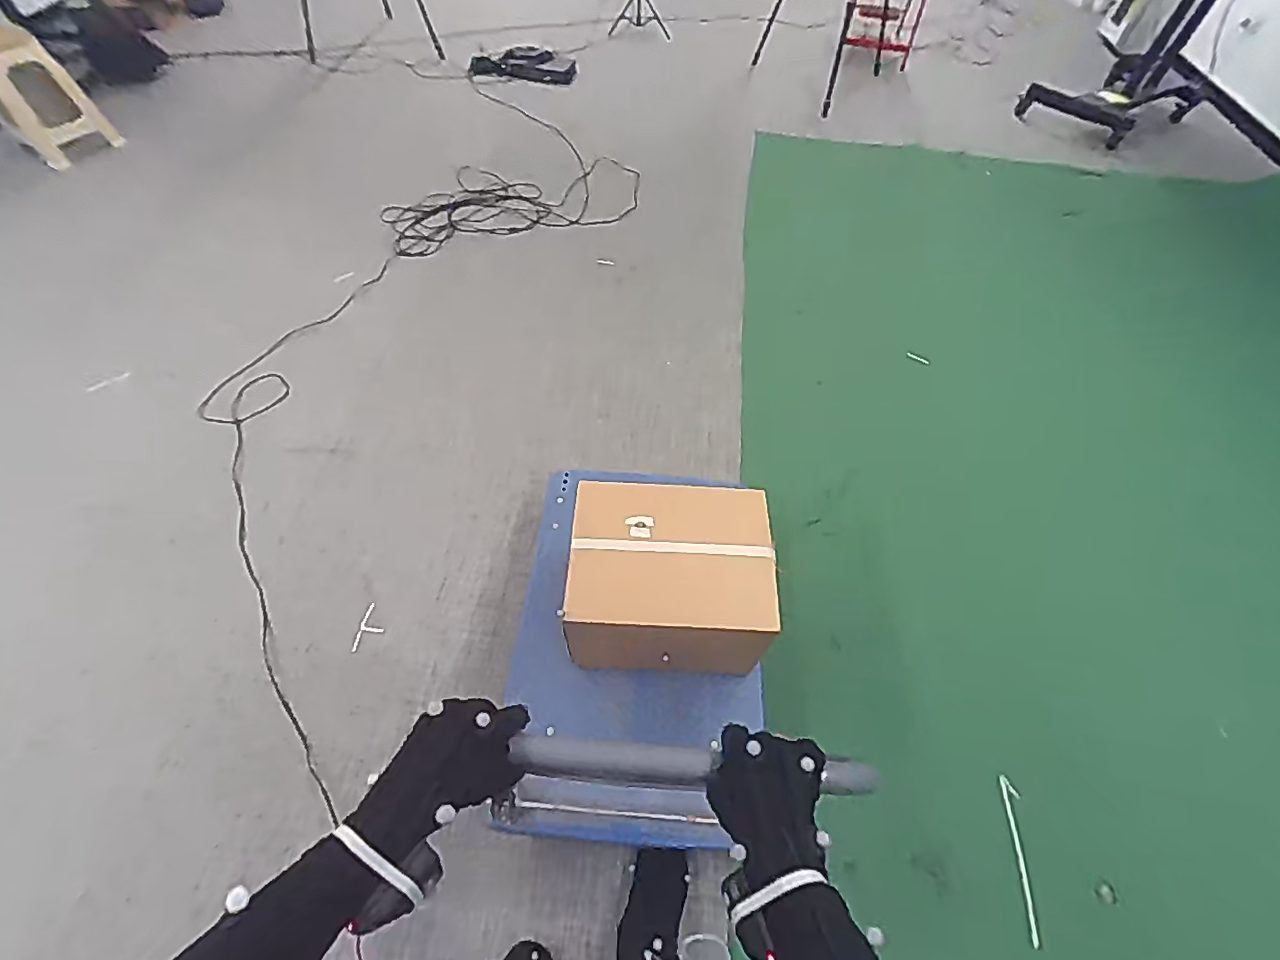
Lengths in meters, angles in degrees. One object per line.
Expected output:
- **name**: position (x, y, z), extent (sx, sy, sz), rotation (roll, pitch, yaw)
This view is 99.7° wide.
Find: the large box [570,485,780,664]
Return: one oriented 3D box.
- **large box**: position (0.068, 0.222, 1.218), extent (0.408, 0.320, 0.320), rotation (1, 56, 0)
